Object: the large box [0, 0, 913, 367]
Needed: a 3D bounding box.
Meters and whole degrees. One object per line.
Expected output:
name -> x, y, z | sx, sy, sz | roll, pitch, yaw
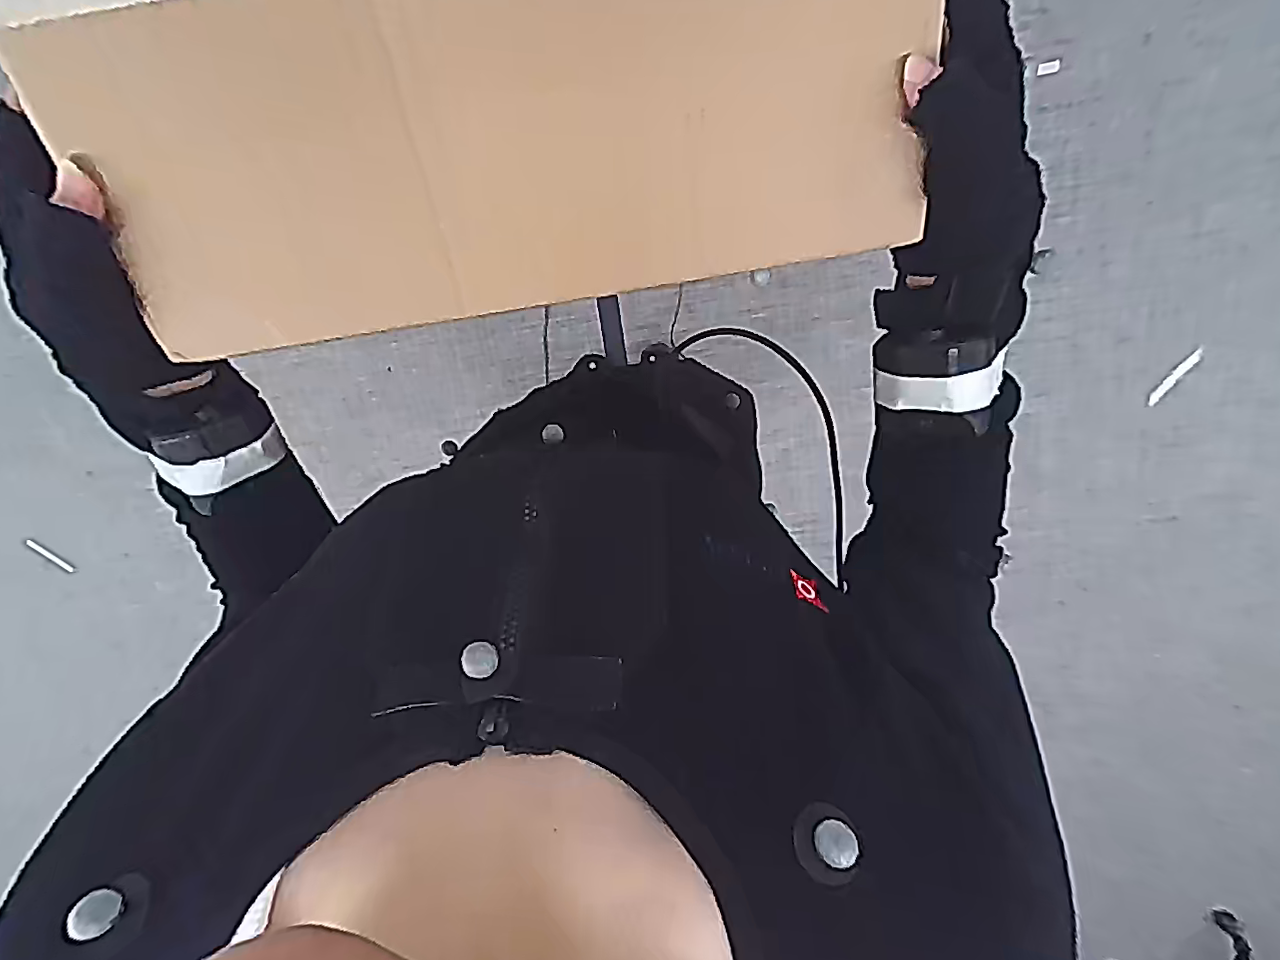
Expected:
large box -> -0.082, -0.297, 0.359 | 0.408, 0.320, 0.320 | -8, 116, 3
